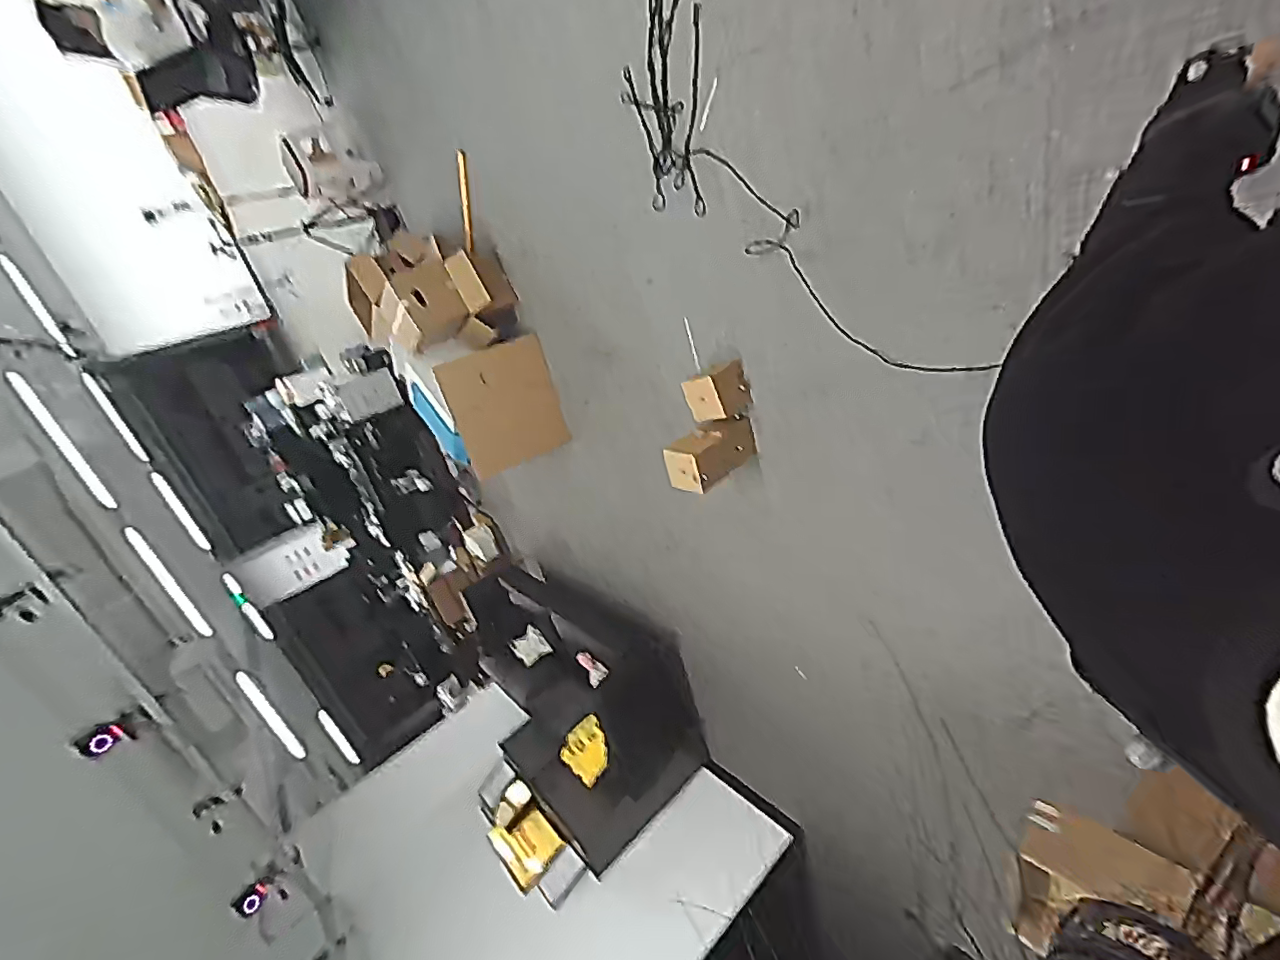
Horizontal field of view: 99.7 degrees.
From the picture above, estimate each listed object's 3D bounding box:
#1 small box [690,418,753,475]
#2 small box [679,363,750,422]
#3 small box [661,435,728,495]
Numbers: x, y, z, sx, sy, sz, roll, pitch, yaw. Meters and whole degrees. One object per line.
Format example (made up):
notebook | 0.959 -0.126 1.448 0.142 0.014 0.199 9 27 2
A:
small box | 0.333 -0.143 2.180 0.168 0.176 0.179 15 129 50
small box | 0.288 -0.334 2.078 0.179 0.176 0.168 0 118 55
small box | 0.214 -0.064 2.098 0.179 0.176 0.168 16 130 50
